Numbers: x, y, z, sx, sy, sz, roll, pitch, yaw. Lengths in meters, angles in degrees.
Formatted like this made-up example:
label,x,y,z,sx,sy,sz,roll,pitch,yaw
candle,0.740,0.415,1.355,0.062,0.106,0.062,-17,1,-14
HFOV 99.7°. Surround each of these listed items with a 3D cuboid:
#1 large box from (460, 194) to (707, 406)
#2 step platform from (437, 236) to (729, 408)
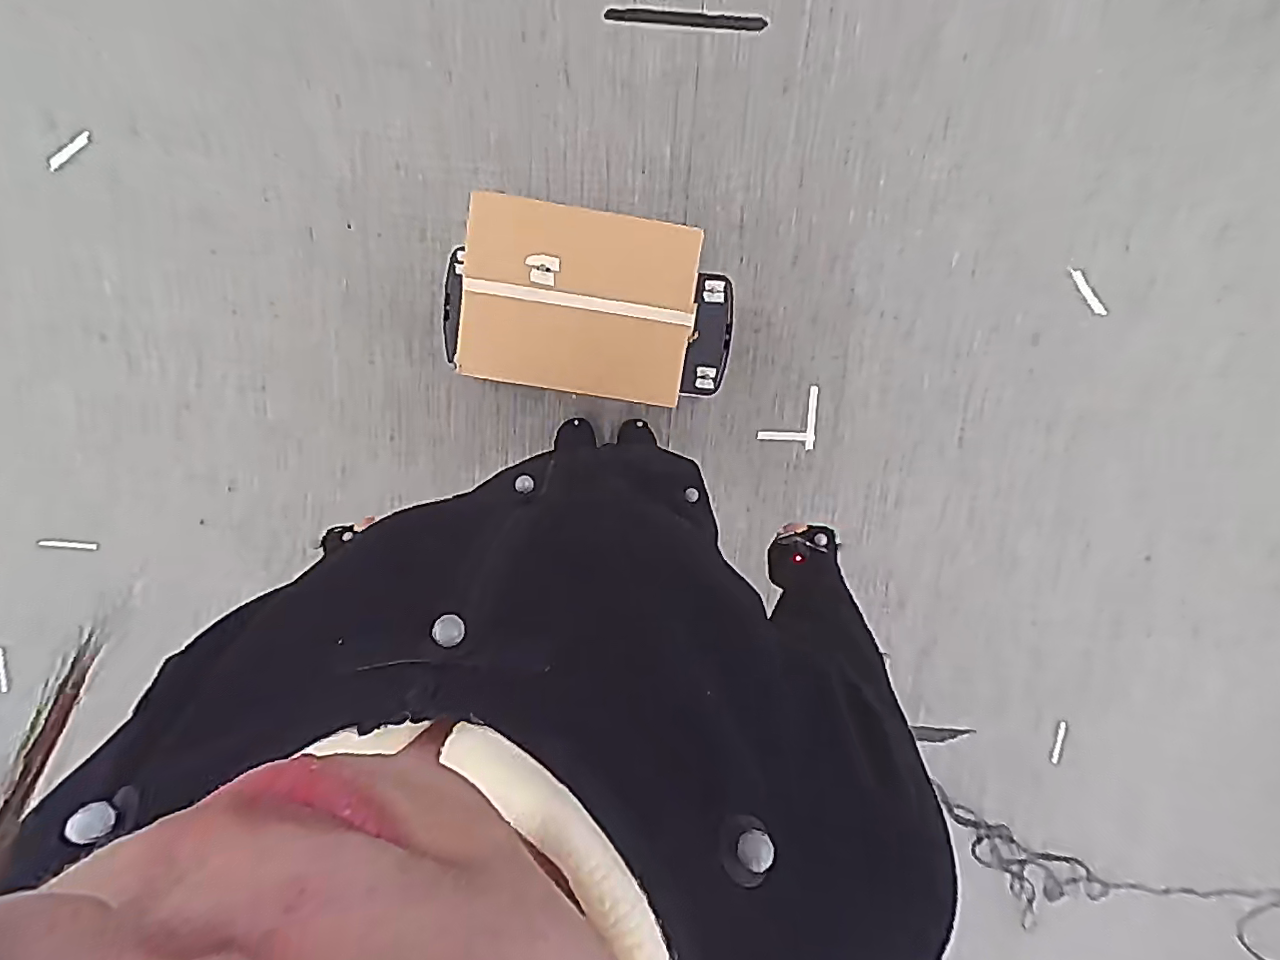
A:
label,x,y,z,sx,sy,sz,roll,pitch,yaw
large box,-0.100,-0.333,1.082,0.408,0.320,0.320,9,99,-1
step platform,-0.130,-0.373,1.317,0.684,0.204,0.286,11,100,-2
